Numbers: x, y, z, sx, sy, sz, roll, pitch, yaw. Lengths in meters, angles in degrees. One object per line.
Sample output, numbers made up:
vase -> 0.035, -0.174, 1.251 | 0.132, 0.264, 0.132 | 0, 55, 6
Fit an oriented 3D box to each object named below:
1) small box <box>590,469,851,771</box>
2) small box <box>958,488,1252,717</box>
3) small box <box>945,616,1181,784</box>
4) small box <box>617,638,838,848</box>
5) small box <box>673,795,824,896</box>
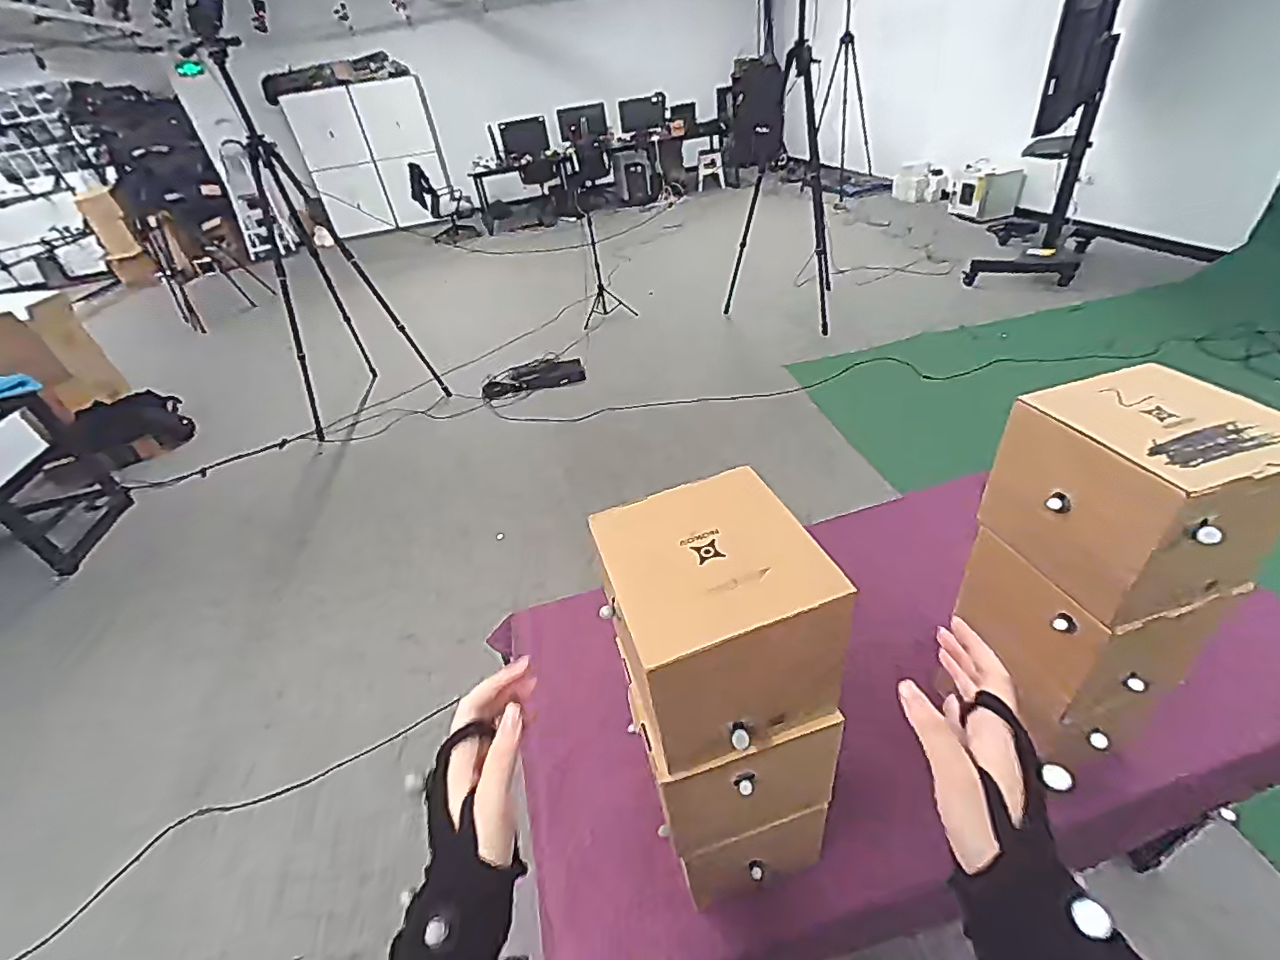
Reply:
small box -> 0.063, 0.121, 0.492 | 0.168, 0.176, 0.179 | -17, 38, -9
small box -> 0.514, 0.140, 0.636 | 0.168, 0.176, 0.179 | -15, 37, -7
small box -> 0.543, 0.272, 0.728 | 0.179, 0.176, 0.168 | -17, 37, -7
small box -> 0.088, 0.255, 0.581 | 0.179, 0.176, 0.168 | -15, 37, -8
small box -> 0.112, 0.385, 0.680 | 0.168, 0.176, 0.179 | -15, 37, -7
